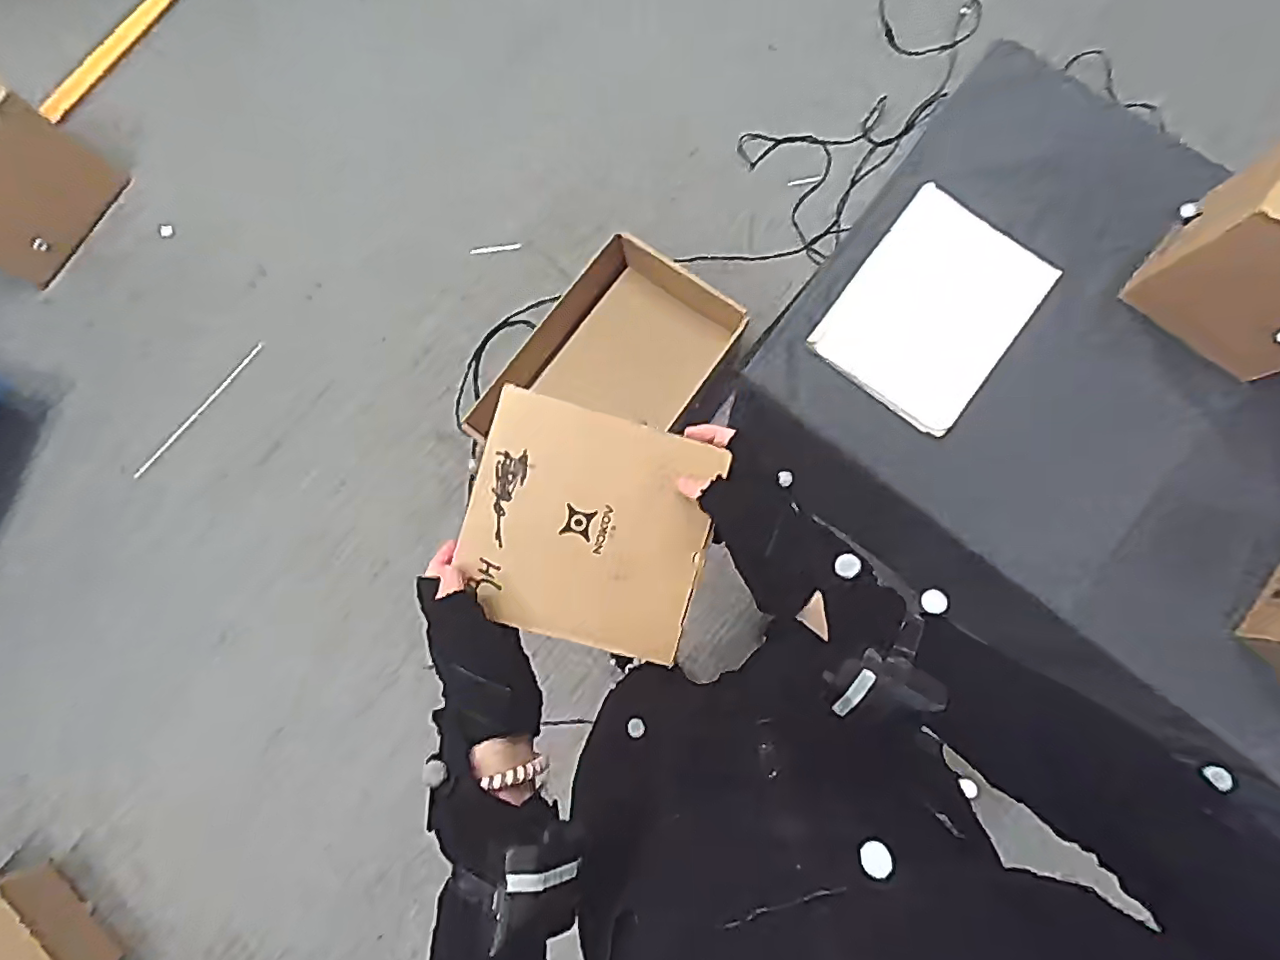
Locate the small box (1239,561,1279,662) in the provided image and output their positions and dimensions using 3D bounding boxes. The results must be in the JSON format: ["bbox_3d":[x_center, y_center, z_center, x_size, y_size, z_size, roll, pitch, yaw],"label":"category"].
[{"bbox_3d":[0.762,0.144,0.508,0.179,0.176,0.168,40,84,9],"label":"small box"}]

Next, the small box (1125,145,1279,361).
[{"bbox_3d":[0.699,-0.250,0.577,0.179,0.176,0.168,42,85,7],"label":"small box"}]
